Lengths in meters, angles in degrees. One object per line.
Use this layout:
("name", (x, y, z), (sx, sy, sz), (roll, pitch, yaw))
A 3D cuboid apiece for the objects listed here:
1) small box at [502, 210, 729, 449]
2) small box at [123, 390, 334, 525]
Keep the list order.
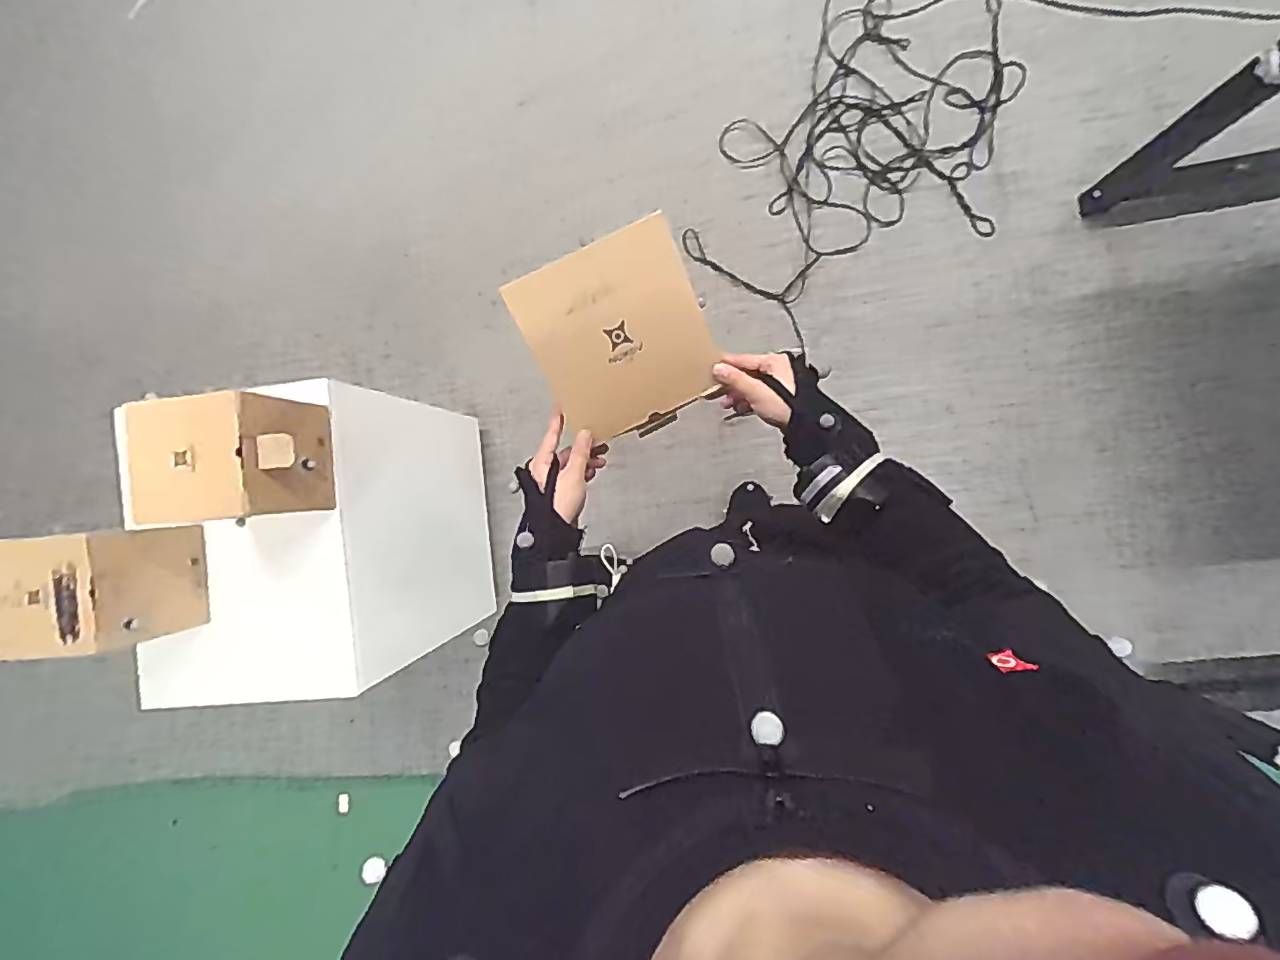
("small box", (-0.023, -0.161, 0.585), (0.168, 0.176, 0.179), (-24, 109, 3))
("small box", (-0.580, -0.026, 0.778), (0.179, 0.176, 0.168), (-5, 89, 8))
